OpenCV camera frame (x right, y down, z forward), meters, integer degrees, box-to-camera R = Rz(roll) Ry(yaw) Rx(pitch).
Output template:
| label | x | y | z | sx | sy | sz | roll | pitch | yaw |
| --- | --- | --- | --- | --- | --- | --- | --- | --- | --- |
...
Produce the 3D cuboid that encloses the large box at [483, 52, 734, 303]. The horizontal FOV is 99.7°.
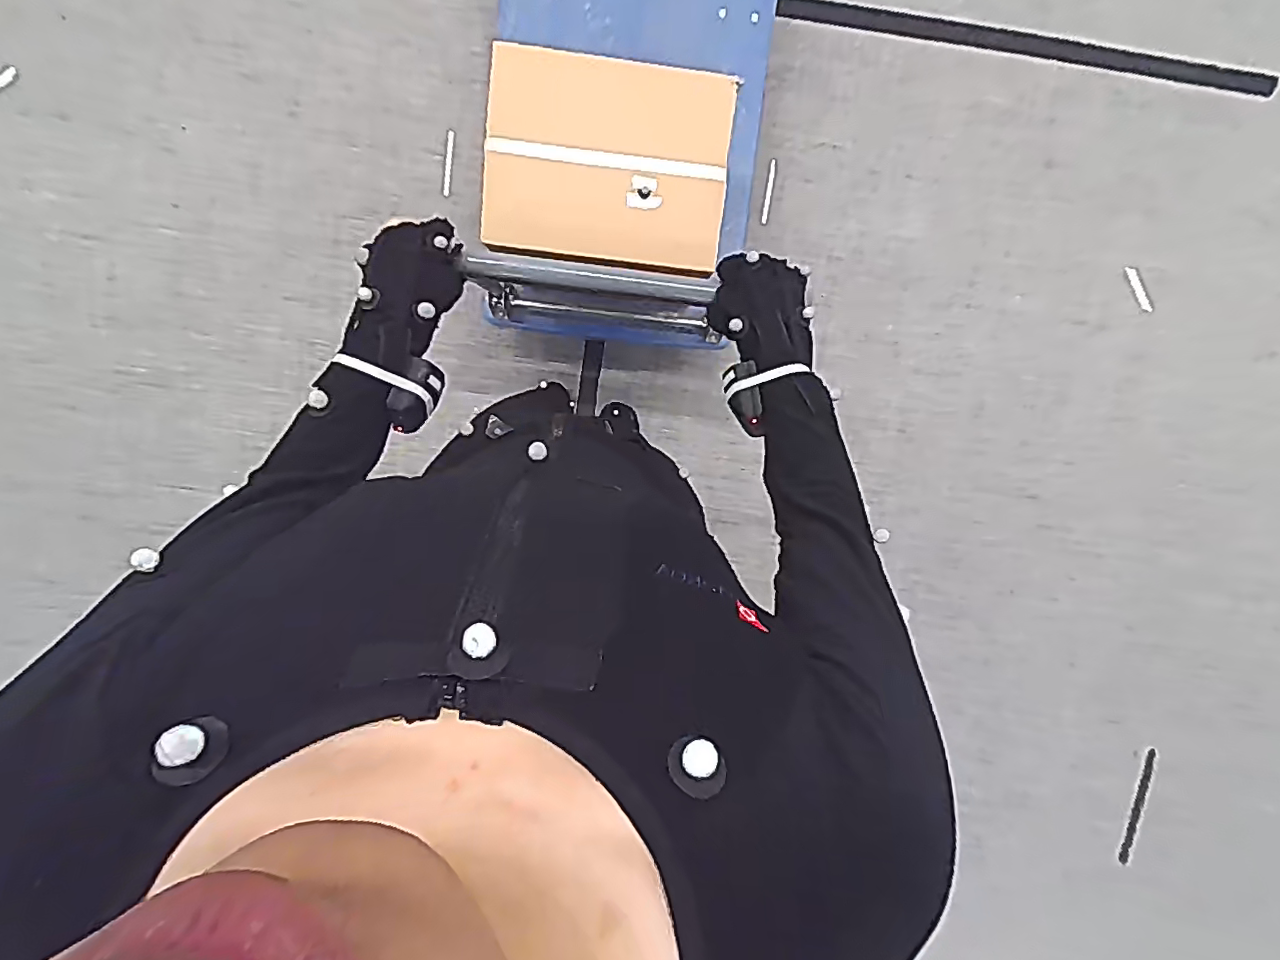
| label | x | y | z | sx | sy | sz | roll | pitch | yaw |
| --- | --- | --- | --- | --- | --- | --- | --- | --- | --- |
| large box | -0.064 | -0.544 | 1.048 | 0.408 | 0.320 | 0.320 | 5 | 99 | -4 |
